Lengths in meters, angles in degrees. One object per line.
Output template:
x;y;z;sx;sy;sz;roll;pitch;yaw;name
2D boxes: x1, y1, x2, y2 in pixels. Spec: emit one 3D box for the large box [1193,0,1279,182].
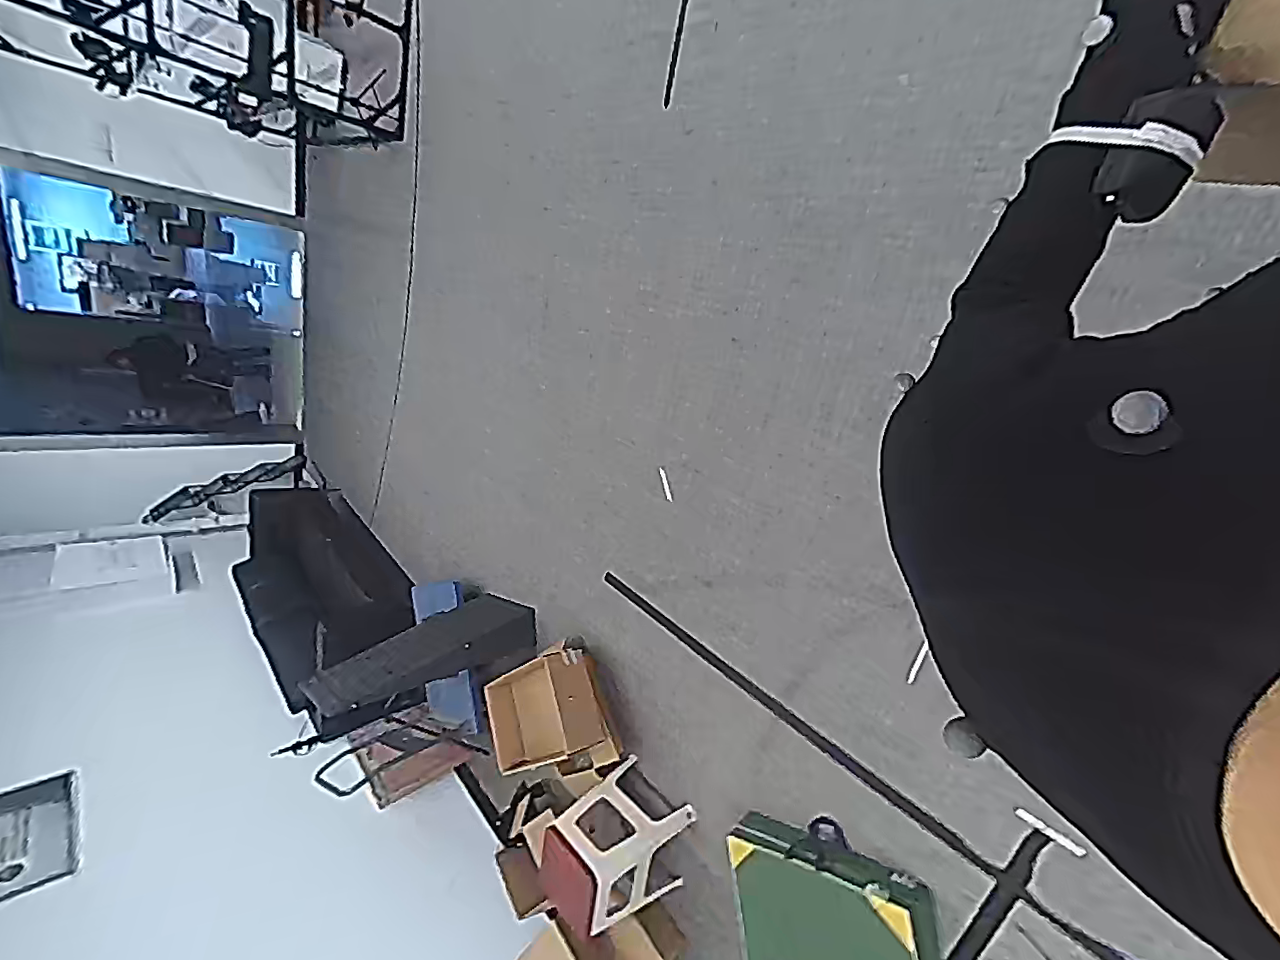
0.641;-0.363;0.295;0.408;0.320;0.320;29;120;38;large box
